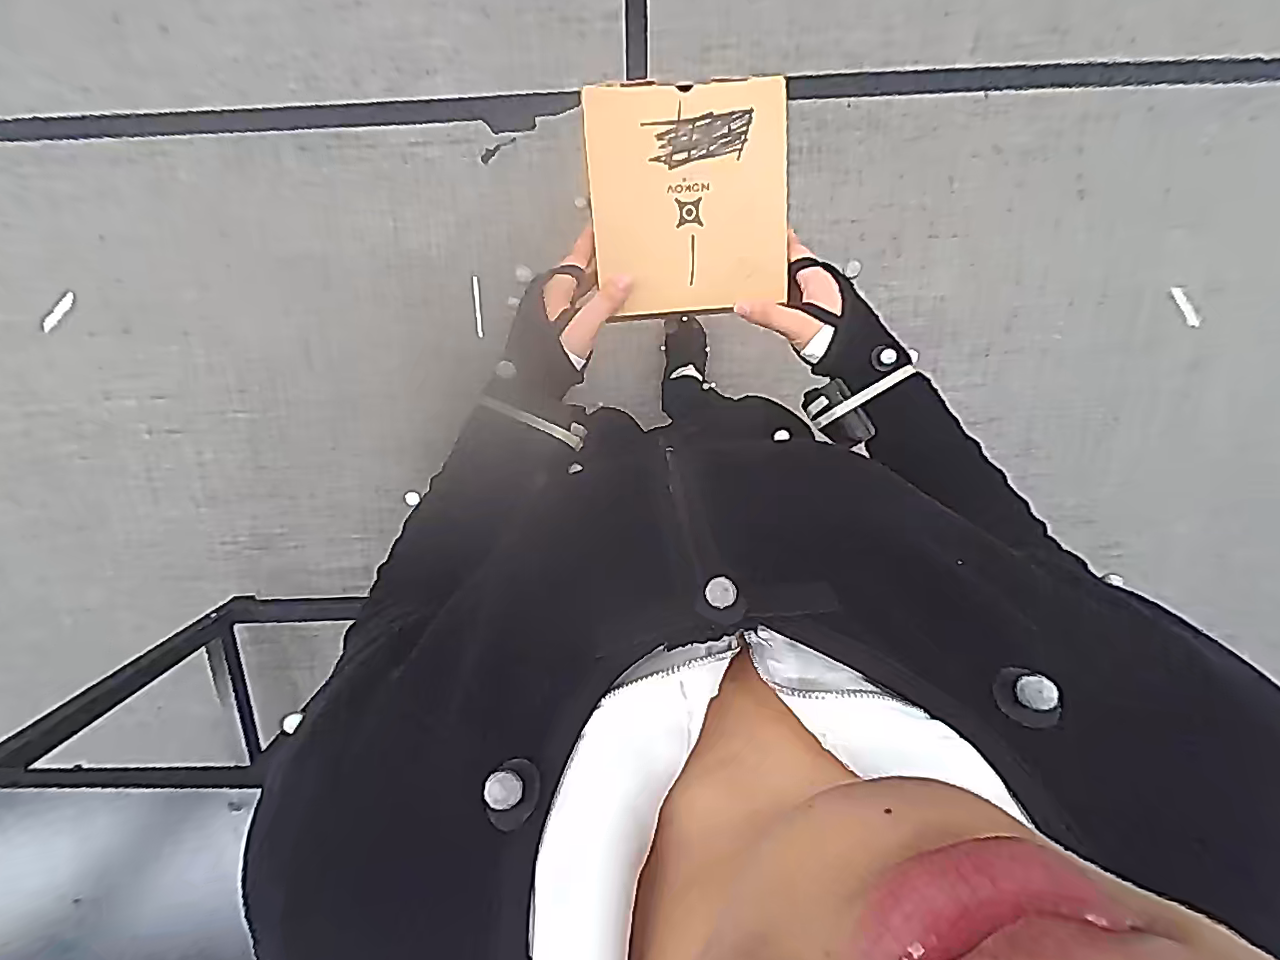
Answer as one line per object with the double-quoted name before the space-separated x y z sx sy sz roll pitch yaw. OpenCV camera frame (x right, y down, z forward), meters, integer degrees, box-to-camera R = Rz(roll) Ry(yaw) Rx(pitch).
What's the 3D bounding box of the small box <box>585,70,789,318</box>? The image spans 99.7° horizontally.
"small box" 0.035 -0.256 0.523 0.168 0.176 0.179 -5 105 -4
